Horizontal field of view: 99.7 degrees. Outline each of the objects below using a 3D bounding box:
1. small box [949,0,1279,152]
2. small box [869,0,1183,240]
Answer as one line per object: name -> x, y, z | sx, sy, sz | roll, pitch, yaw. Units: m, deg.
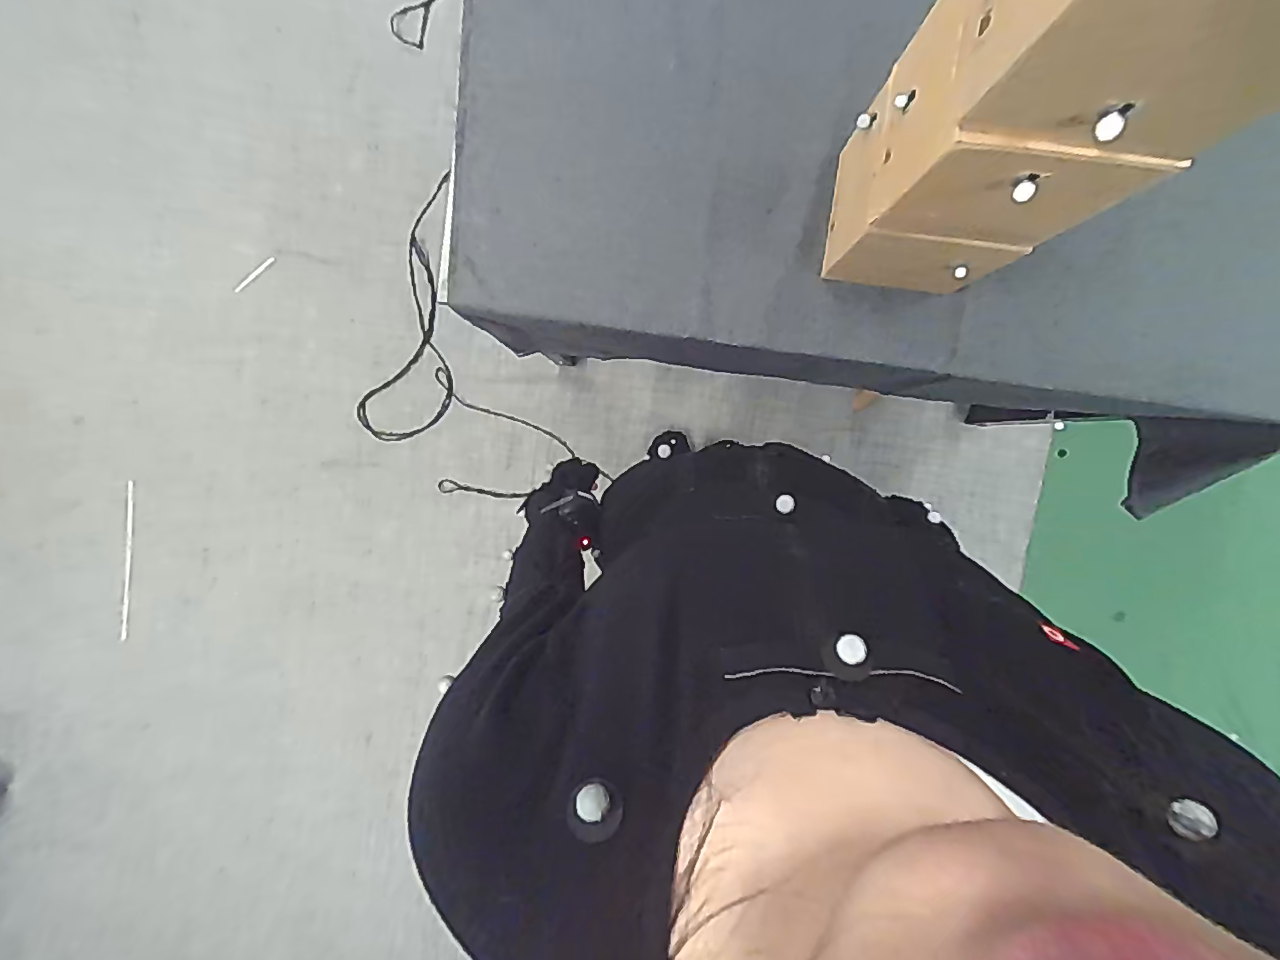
small box -> 0.326, -0.326, 0.319 | 0.179, 0.176, 0.168 | 9, 94, 1
small box -> 0.333, -0.331, 0.483 | 0.179, 0.176, 0.168 | 7, 94, 2
